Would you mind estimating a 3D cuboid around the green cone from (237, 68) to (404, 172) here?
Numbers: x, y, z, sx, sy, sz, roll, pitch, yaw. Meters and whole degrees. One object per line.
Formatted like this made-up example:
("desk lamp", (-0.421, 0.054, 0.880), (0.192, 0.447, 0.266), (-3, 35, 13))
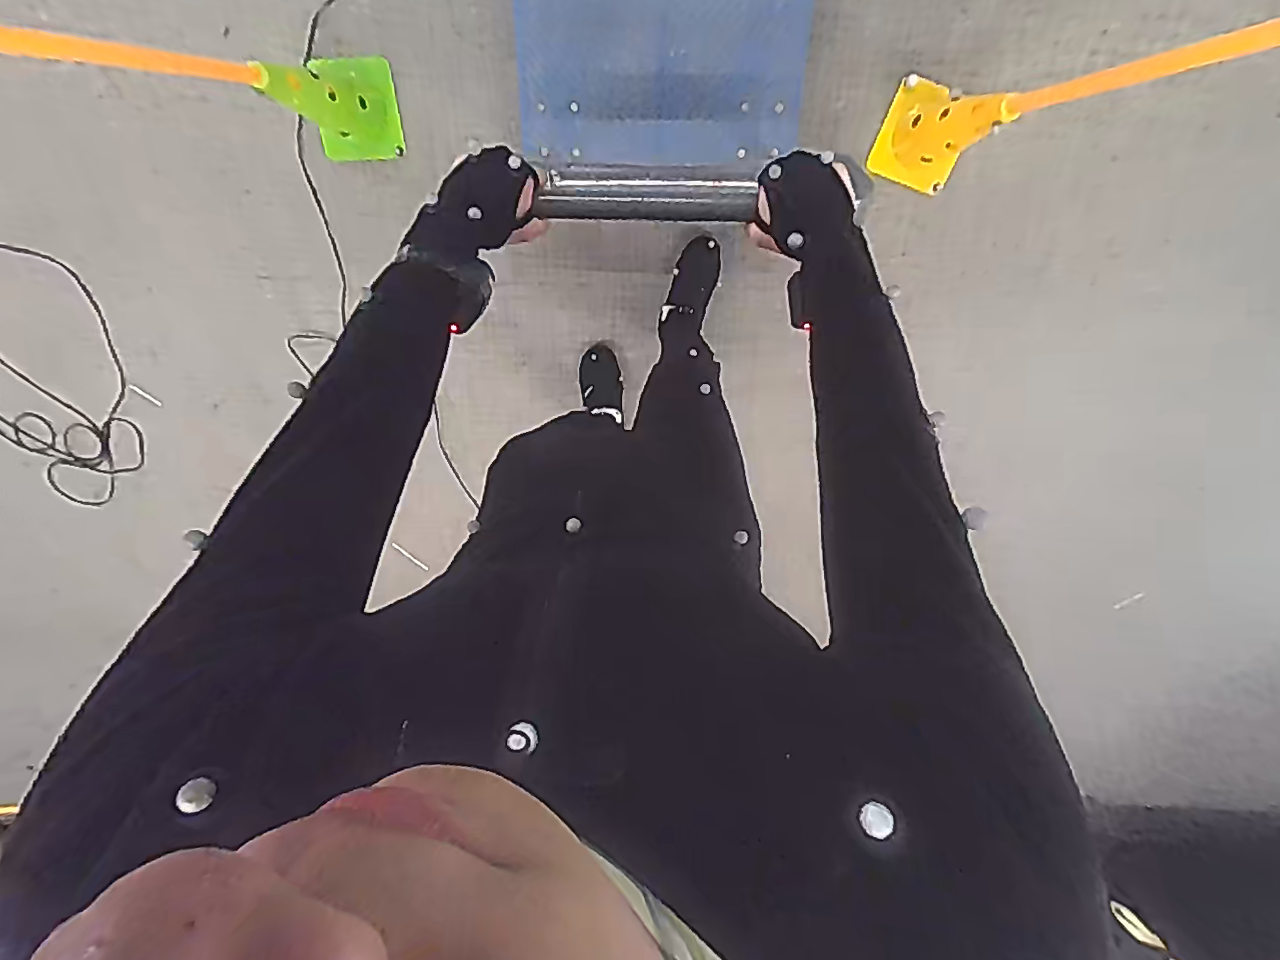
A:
("green cone", (-0.681, -0.775, 1.121), (0.202, 0.368, 0.200), (-1, 114, 4))
